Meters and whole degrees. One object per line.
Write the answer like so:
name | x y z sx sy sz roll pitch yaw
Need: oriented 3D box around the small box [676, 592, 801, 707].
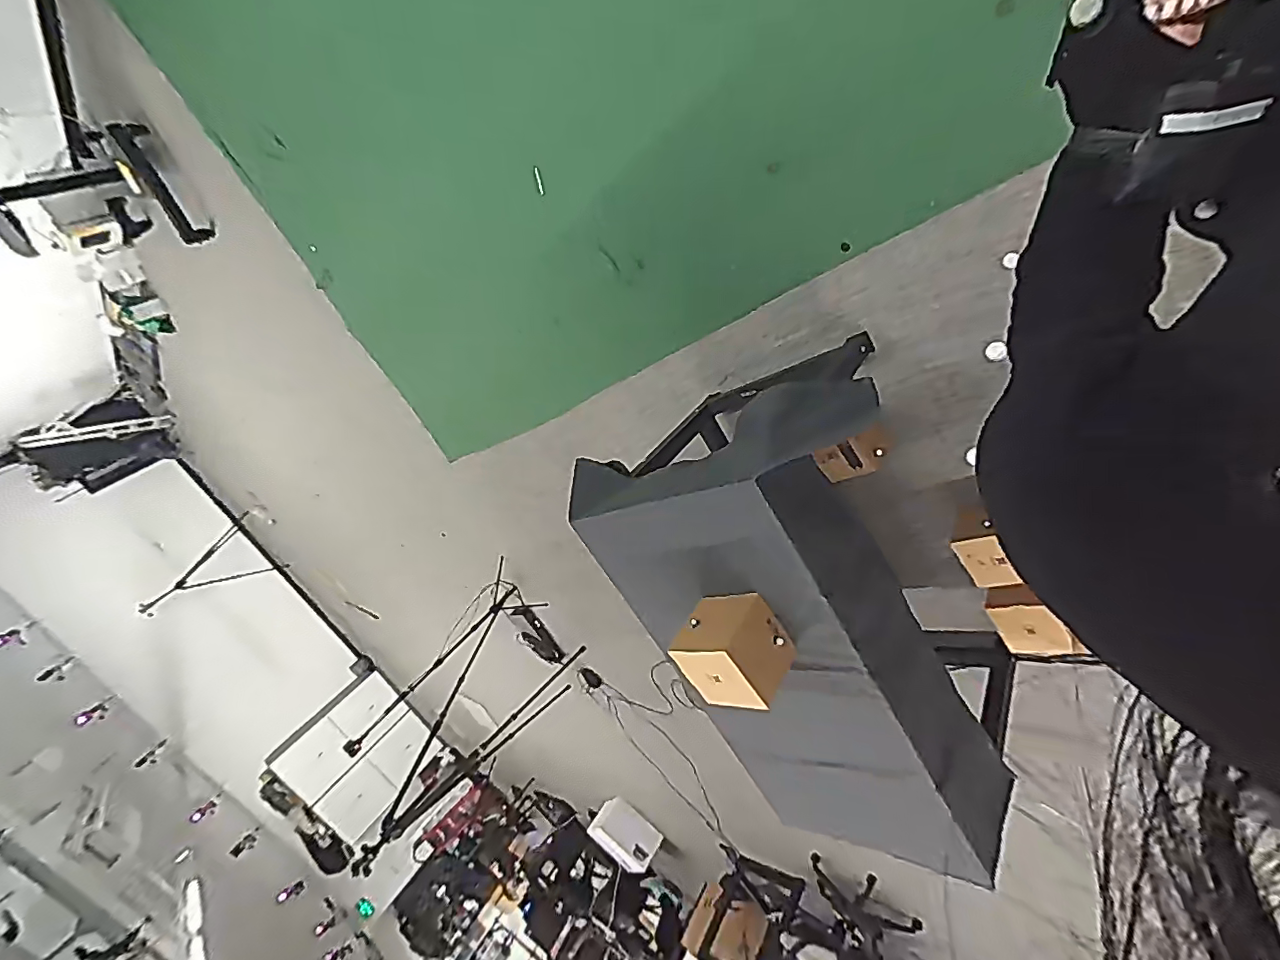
small box | 0.218 0.363 1.179 0.179 0.176 0.168 -20 111 49
